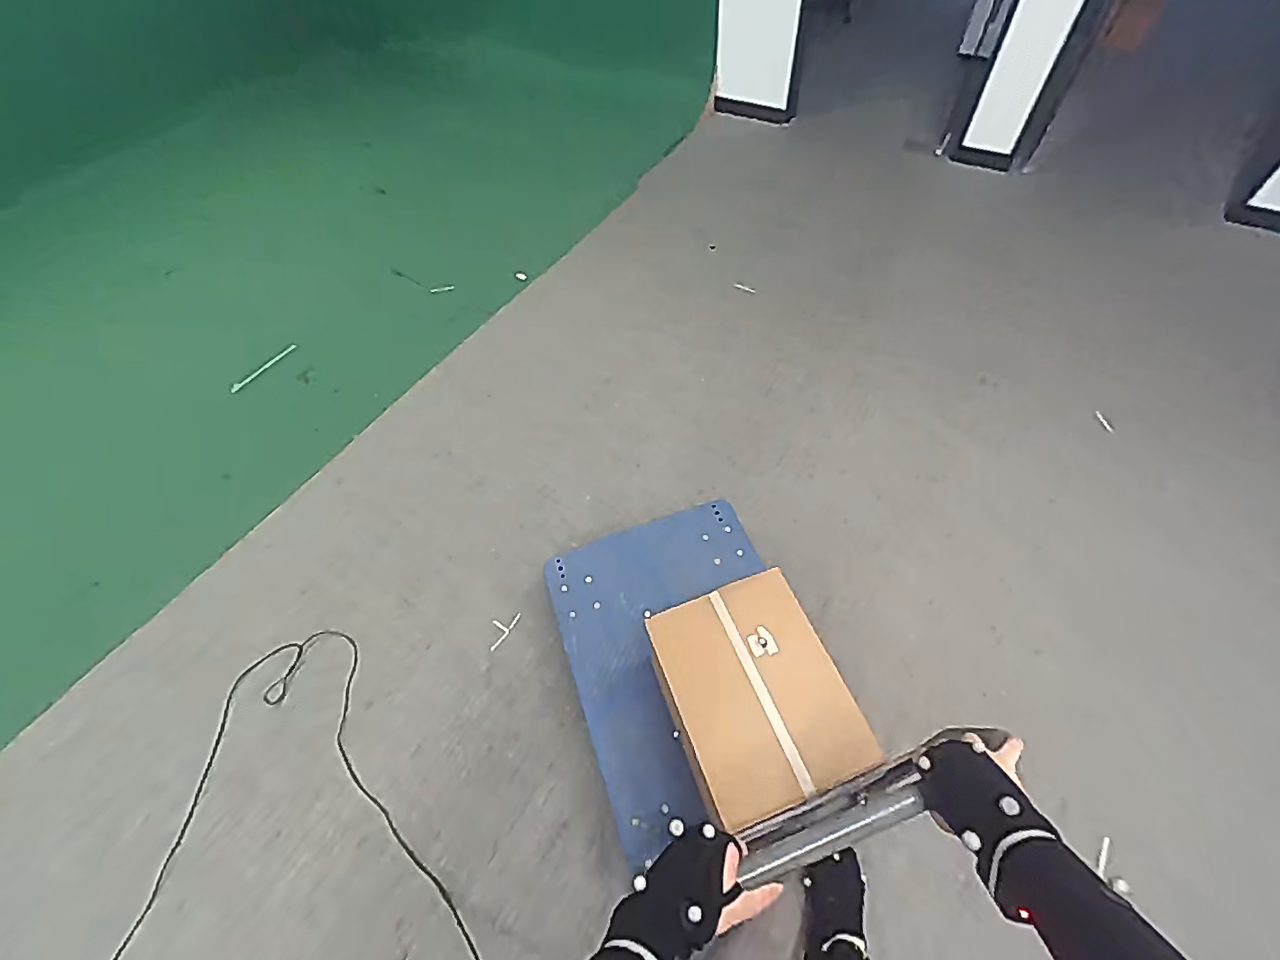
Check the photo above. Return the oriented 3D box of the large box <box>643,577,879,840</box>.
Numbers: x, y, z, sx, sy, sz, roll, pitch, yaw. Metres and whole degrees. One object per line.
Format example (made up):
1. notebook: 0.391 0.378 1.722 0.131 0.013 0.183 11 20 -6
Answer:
1. large box: 0.230 0.493 1.173 0.320 0.320 0.408 -19 56 -9
